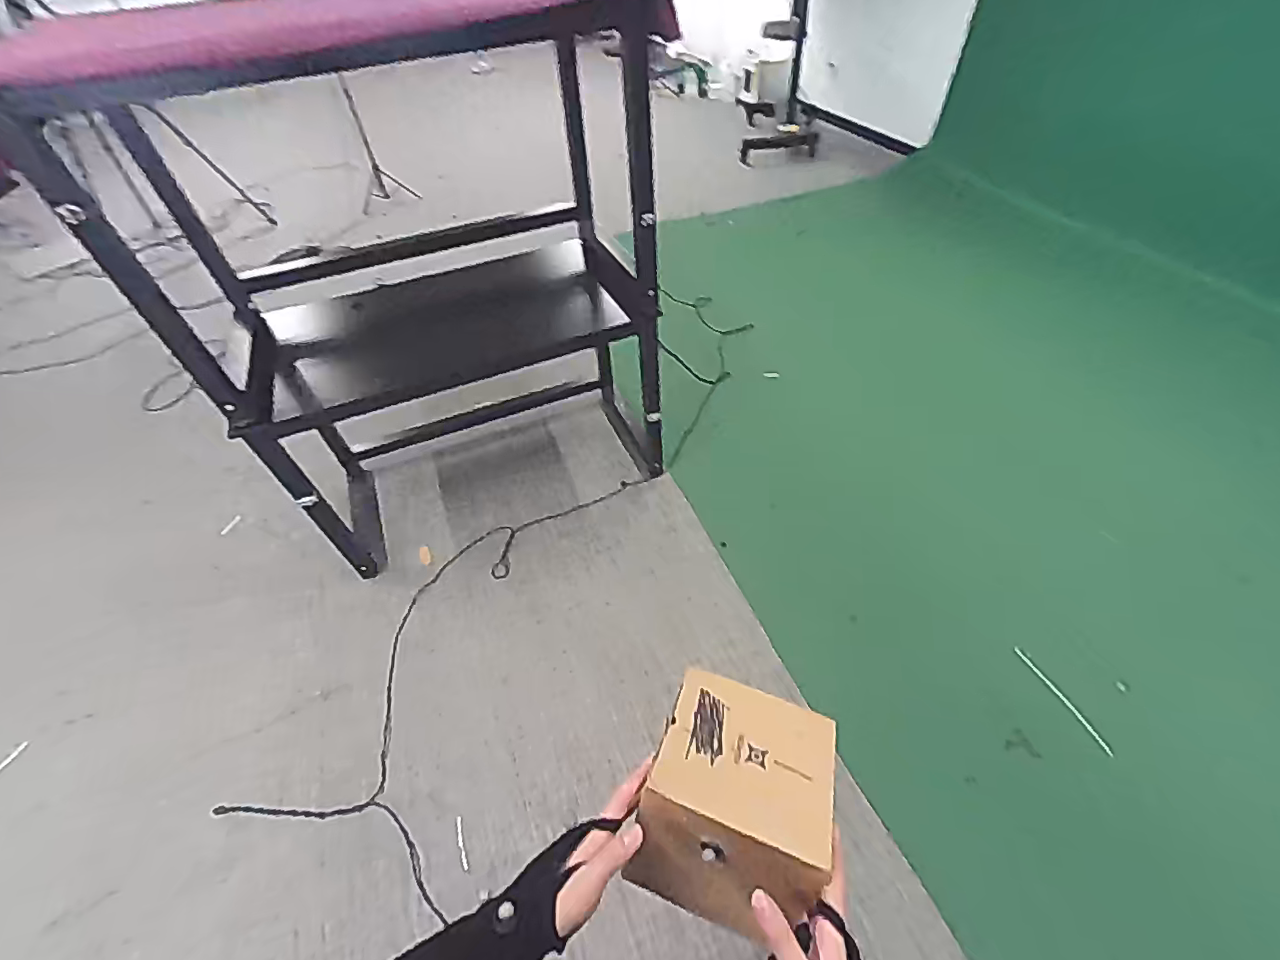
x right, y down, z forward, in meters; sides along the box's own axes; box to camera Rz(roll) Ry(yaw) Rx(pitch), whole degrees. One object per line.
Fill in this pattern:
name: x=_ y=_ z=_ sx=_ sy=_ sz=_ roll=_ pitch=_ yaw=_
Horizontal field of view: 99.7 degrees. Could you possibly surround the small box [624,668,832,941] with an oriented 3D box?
small box: x=0.095 y=0.349 z=0.592 sx=0.179 sy=0.176 sz=0.168 roll=18 pitch=30 yaw=12
